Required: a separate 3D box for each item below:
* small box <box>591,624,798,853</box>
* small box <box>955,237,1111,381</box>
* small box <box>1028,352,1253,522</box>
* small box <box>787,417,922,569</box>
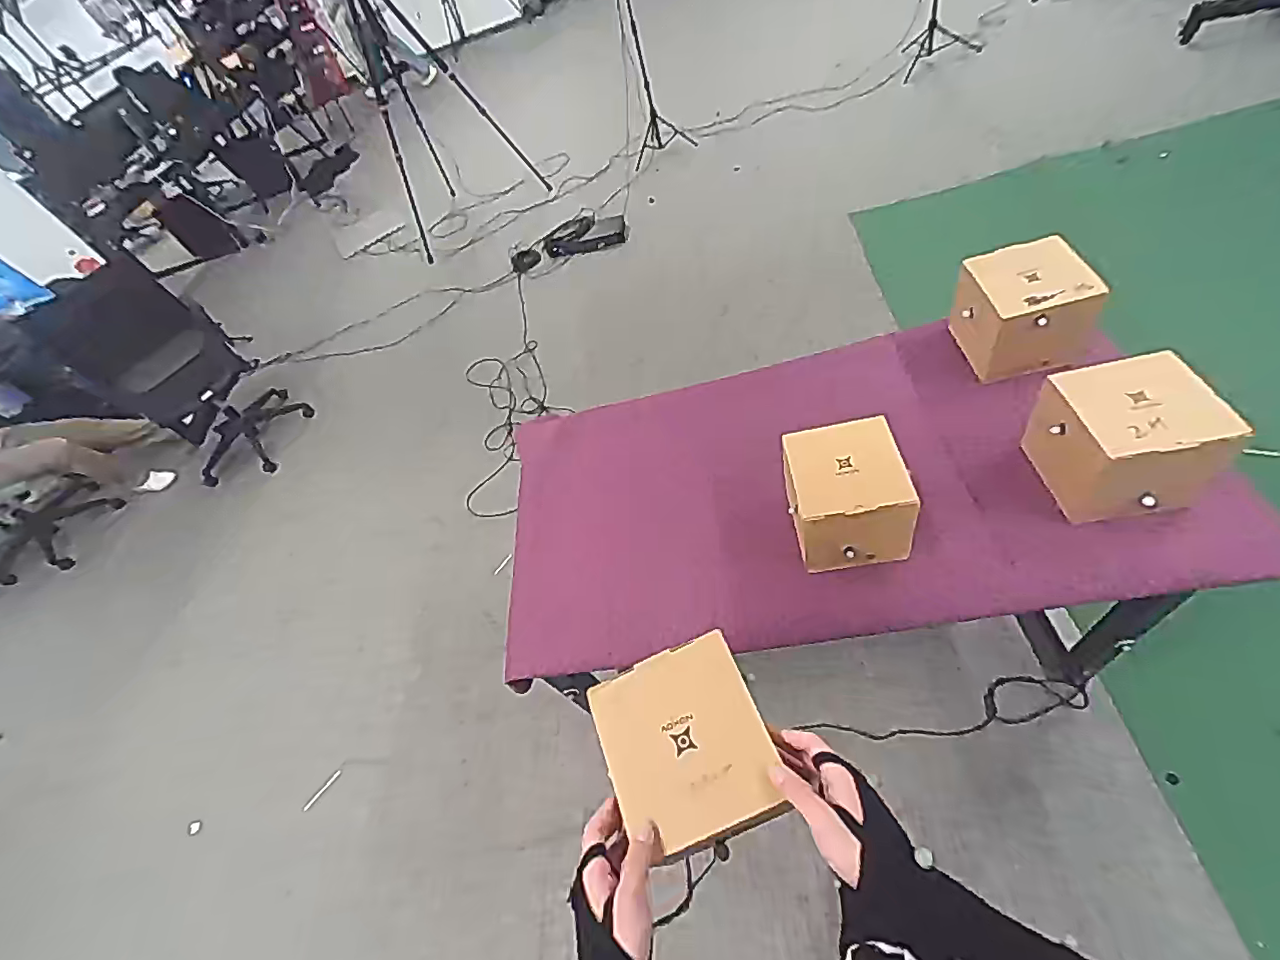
[{"bbox_3d":[0.065,0.298,0.615,0.168,0.176,0.179,-25,53,1],"label":"small box"},{"bbox_3d":[0.718,-0.316,1.016,0.168,0.176,0.179,-13,53,12],"label":"small box"},{"bbox_3d":[0.730,-0.061,0.821,0.168,0.176,0.179,-11,51,13],"label":"small box"},{"bbox_3d":[0.342,0.025,0.897,0.168,0.176,0.179,-11,51,11],"label":"small box"}]
